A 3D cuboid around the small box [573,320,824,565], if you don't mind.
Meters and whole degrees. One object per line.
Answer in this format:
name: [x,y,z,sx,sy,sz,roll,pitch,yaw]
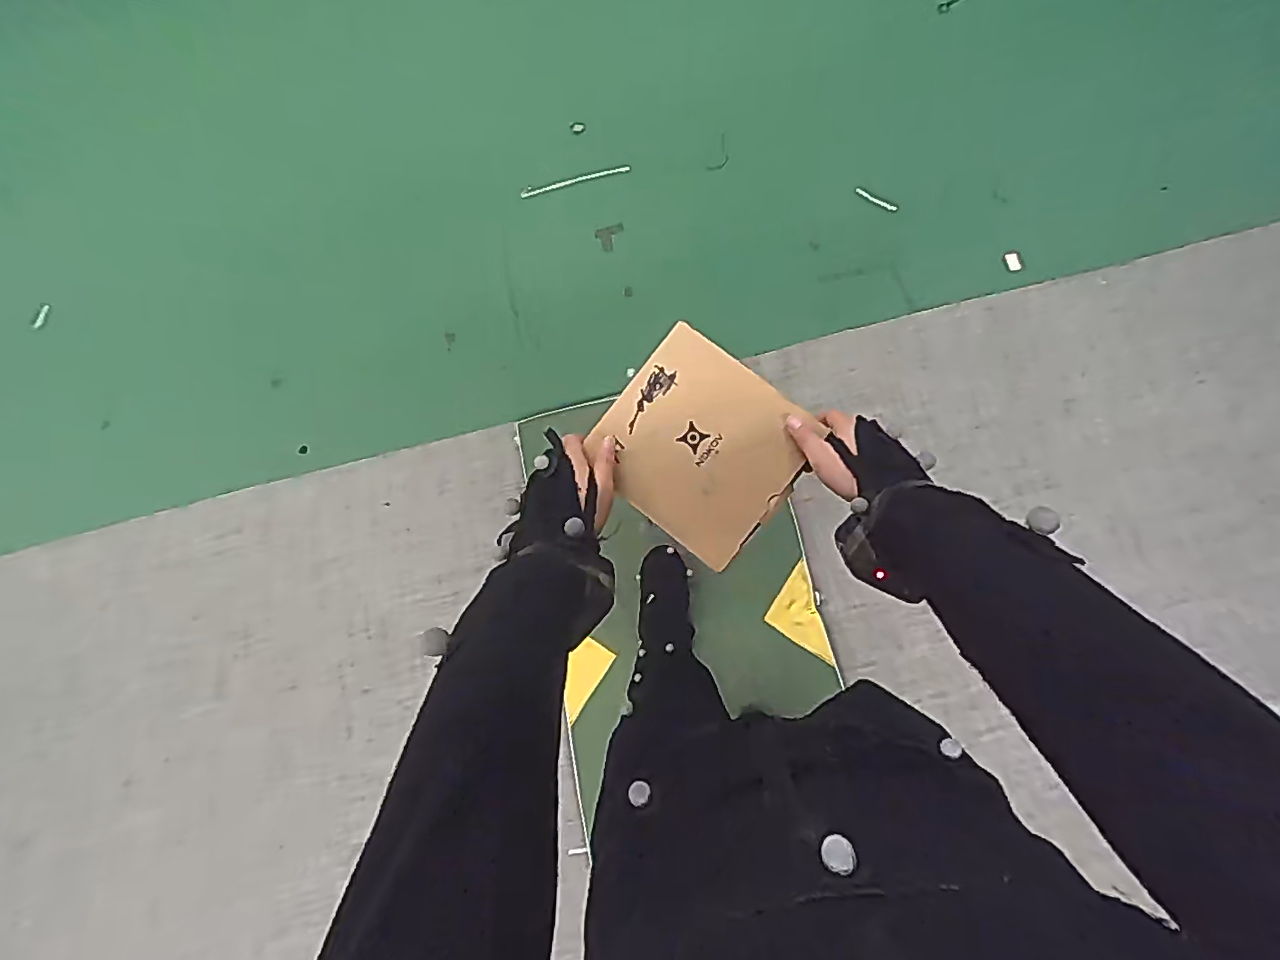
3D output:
small box: [0.058,-0.032,0.580,0.179,0.176,0.168,38,88,6]
